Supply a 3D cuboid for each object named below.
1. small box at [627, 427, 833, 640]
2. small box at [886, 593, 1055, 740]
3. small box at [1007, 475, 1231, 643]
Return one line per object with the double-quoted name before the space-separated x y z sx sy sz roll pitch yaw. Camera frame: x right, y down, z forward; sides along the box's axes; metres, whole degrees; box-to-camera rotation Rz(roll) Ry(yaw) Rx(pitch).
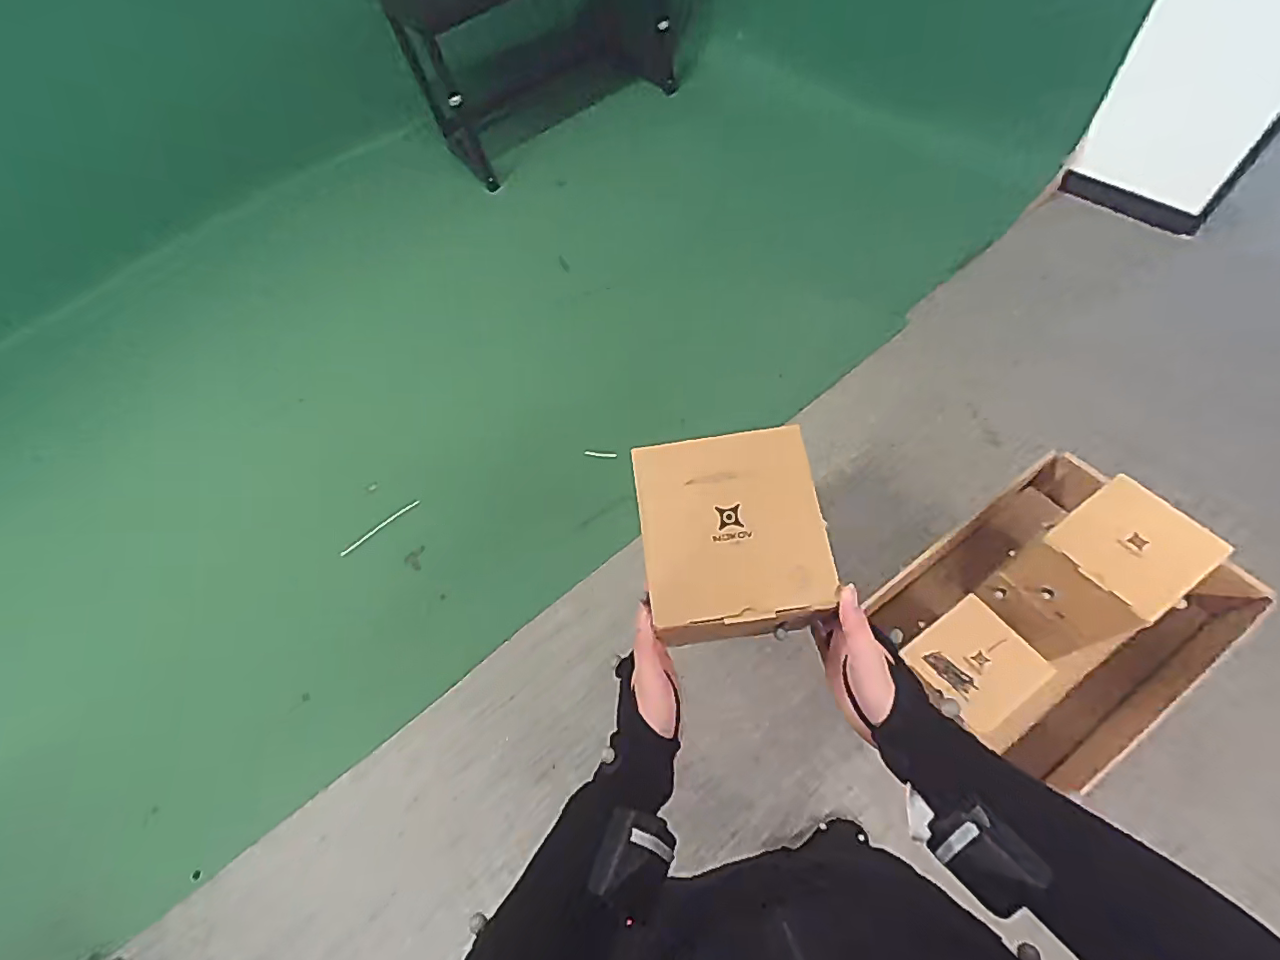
"small box" 0.084 0.068 0.567 0.168 0.176 0.179 -8 67 2
"small box" 0.564 0.337 0.958 0.179 0.176 0.168 -33 61 -10
"small box" 0.733 0.130 0.855 0.179 0.176 0.168 -35 61 -7
